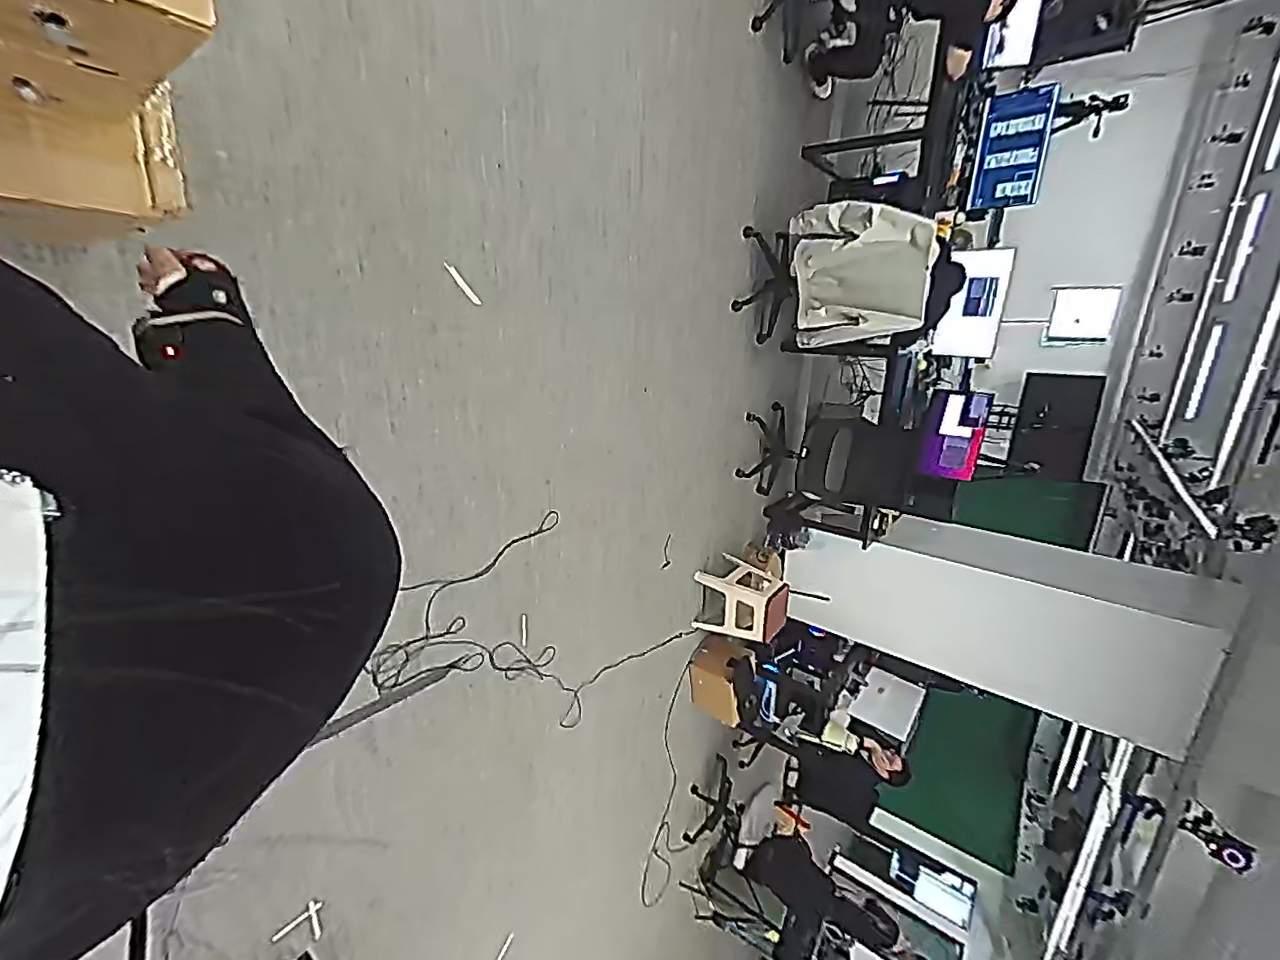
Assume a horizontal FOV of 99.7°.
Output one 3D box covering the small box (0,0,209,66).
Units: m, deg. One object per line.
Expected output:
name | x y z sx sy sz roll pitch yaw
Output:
small box | -0.446 -0.442 0.391 0.168 0.176 0.179 -15 114 -51

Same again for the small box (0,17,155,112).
small box | -0.578 -0.470 0.487 0.168 0.176 0.179 -16 114 -49
